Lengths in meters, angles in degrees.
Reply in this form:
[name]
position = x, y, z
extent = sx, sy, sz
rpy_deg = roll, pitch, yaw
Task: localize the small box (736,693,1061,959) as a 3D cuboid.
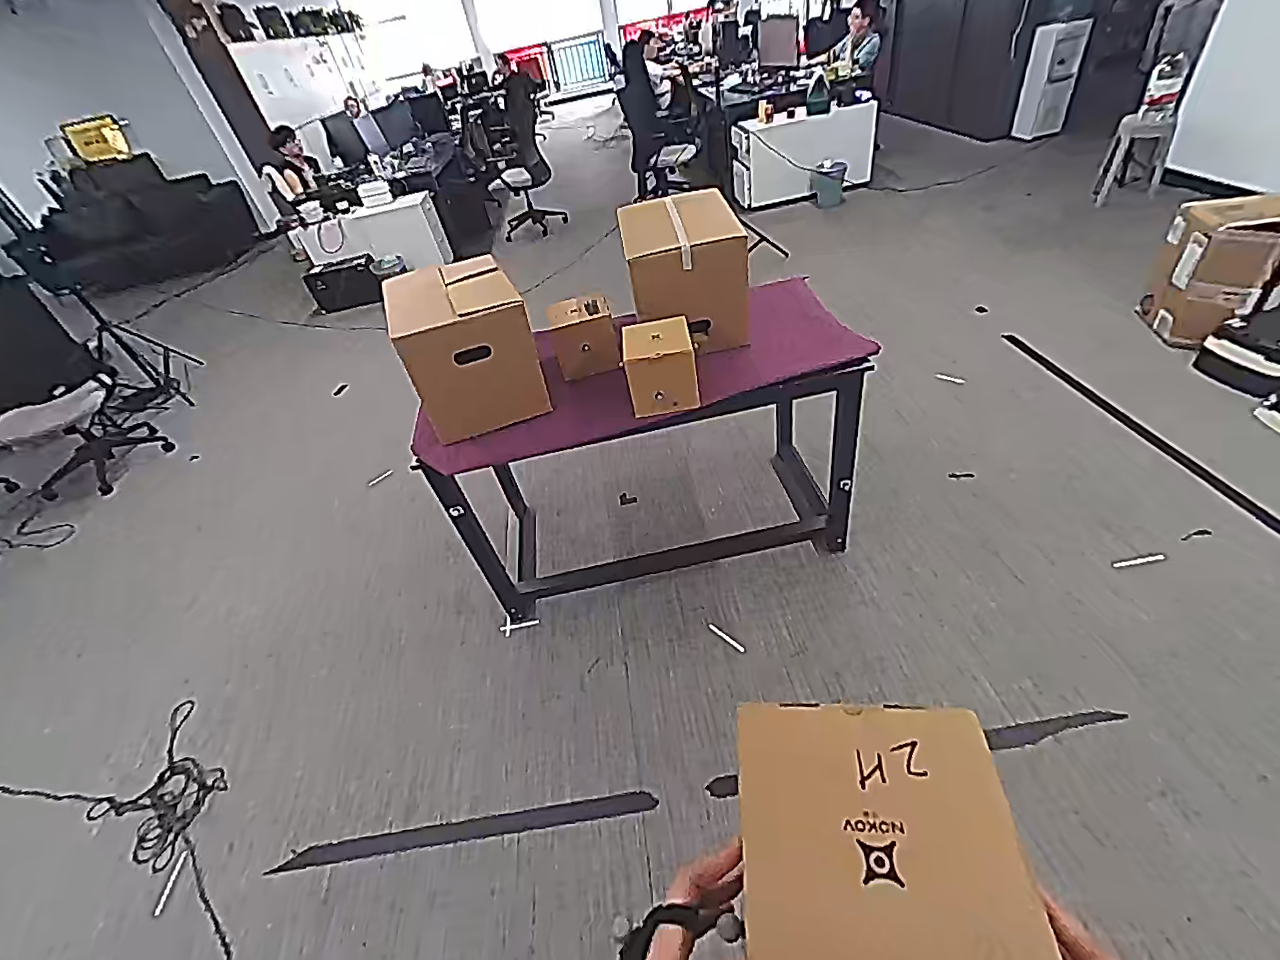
[small box]
position = 0.155, 0.274, 0.383
extent = 0.168, 0.176, 0.179
rpy_deg = -1, 44, 9
